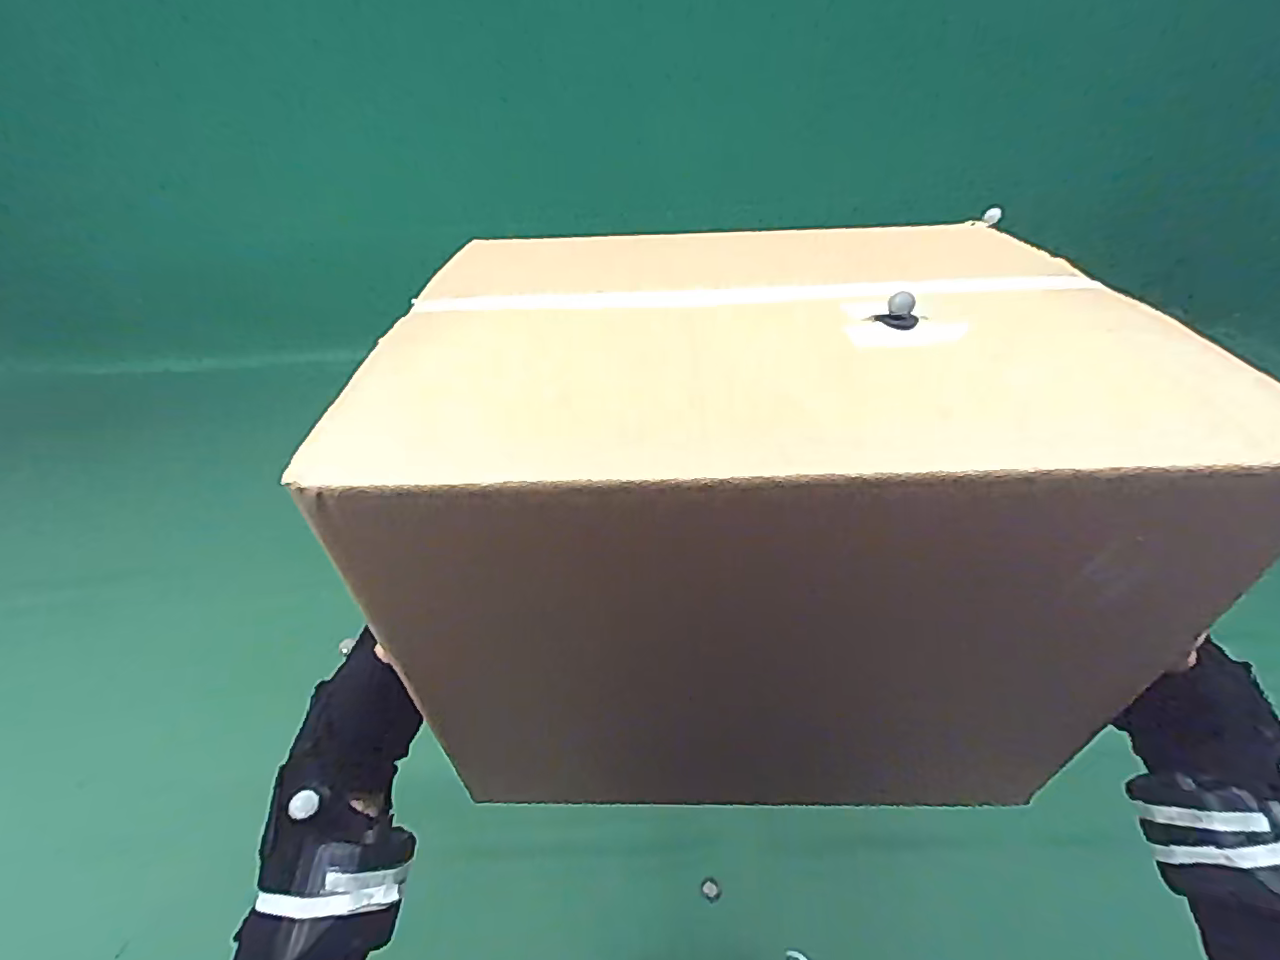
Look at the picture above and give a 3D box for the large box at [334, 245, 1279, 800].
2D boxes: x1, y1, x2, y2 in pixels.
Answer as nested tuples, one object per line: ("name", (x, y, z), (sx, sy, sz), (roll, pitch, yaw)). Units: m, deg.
("large box", (0.076, 0.022, 0.421), (0.408, 0.320, 0.320), (0, 39, 2))
